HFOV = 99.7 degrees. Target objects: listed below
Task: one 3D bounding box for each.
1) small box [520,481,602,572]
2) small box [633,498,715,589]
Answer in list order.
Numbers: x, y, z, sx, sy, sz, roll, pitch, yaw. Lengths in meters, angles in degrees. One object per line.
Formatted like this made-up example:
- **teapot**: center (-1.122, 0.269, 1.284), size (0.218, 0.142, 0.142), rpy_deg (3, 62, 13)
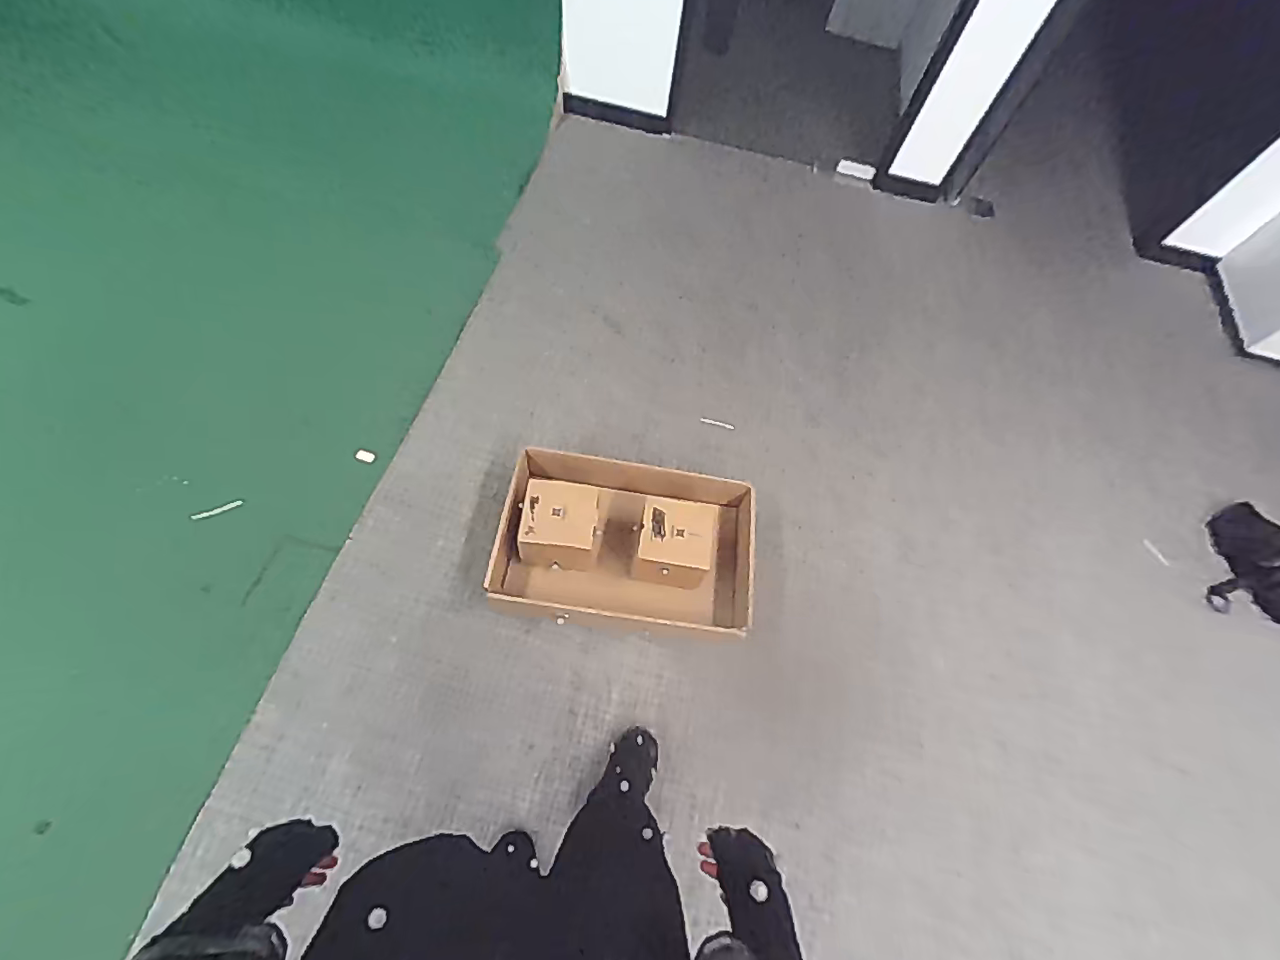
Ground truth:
- **small box**: center (-0.196, 0.123, 1.355), size (0.179, 0.176, 0.168), rpy_deg (8, 61, -5)
- **small box**: center (0.082, 0.166, 1.367), size (0.179, 0.176, 0.168), rpy_deg (10, 62, -1)
